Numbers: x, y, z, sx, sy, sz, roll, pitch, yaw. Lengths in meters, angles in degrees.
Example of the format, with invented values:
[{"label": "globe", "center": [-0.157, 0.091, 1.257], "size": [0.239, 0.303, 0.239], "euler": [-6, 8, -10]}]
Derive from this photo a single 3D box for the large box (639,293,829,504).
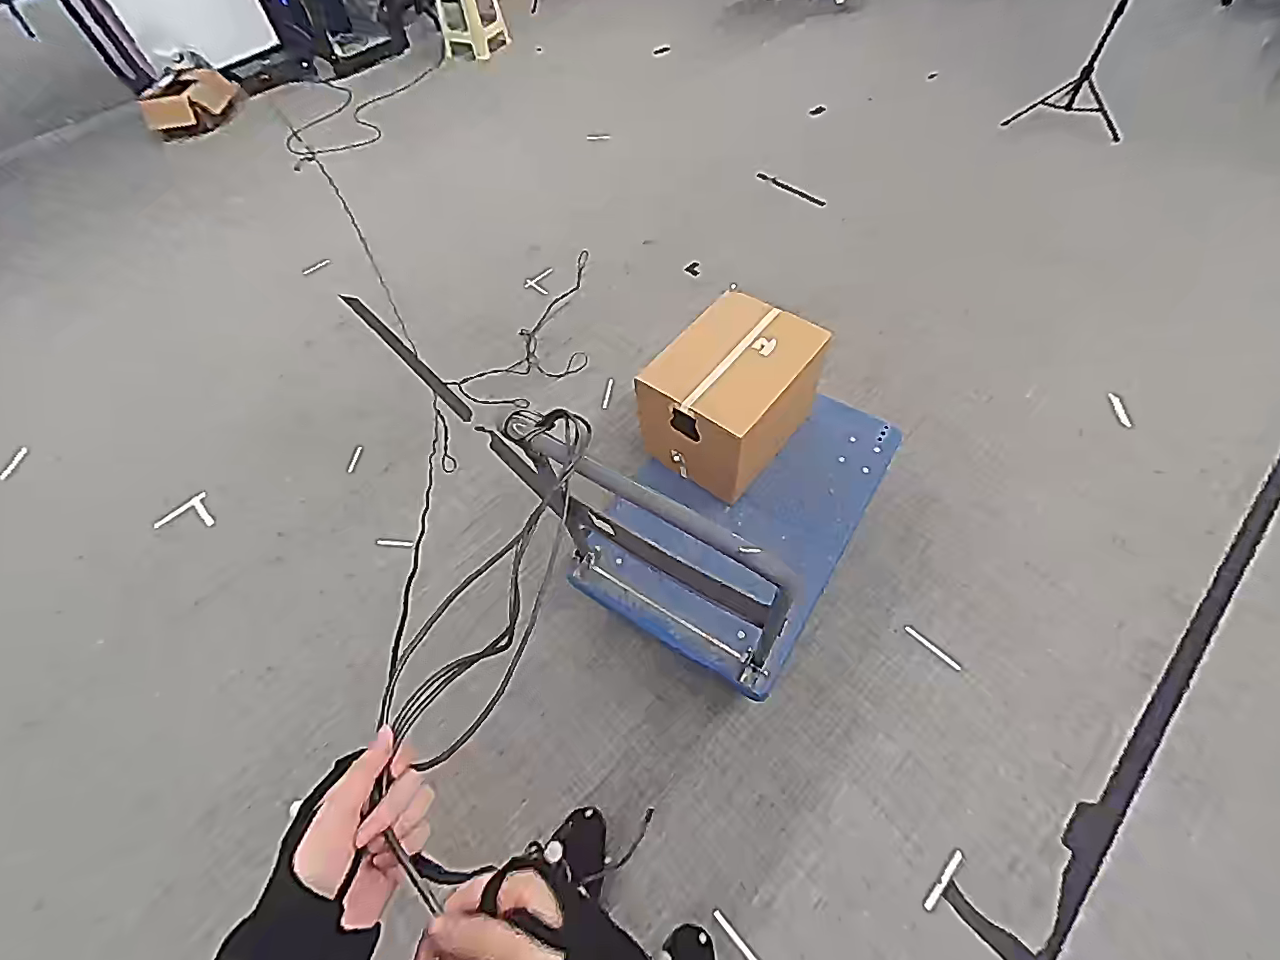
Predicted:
[{"label": "large box", "center": [0.243, -0.217, 1.449], "size": [0.320, 0.320, 0.408], "euler": [34, 66, 22]}]
